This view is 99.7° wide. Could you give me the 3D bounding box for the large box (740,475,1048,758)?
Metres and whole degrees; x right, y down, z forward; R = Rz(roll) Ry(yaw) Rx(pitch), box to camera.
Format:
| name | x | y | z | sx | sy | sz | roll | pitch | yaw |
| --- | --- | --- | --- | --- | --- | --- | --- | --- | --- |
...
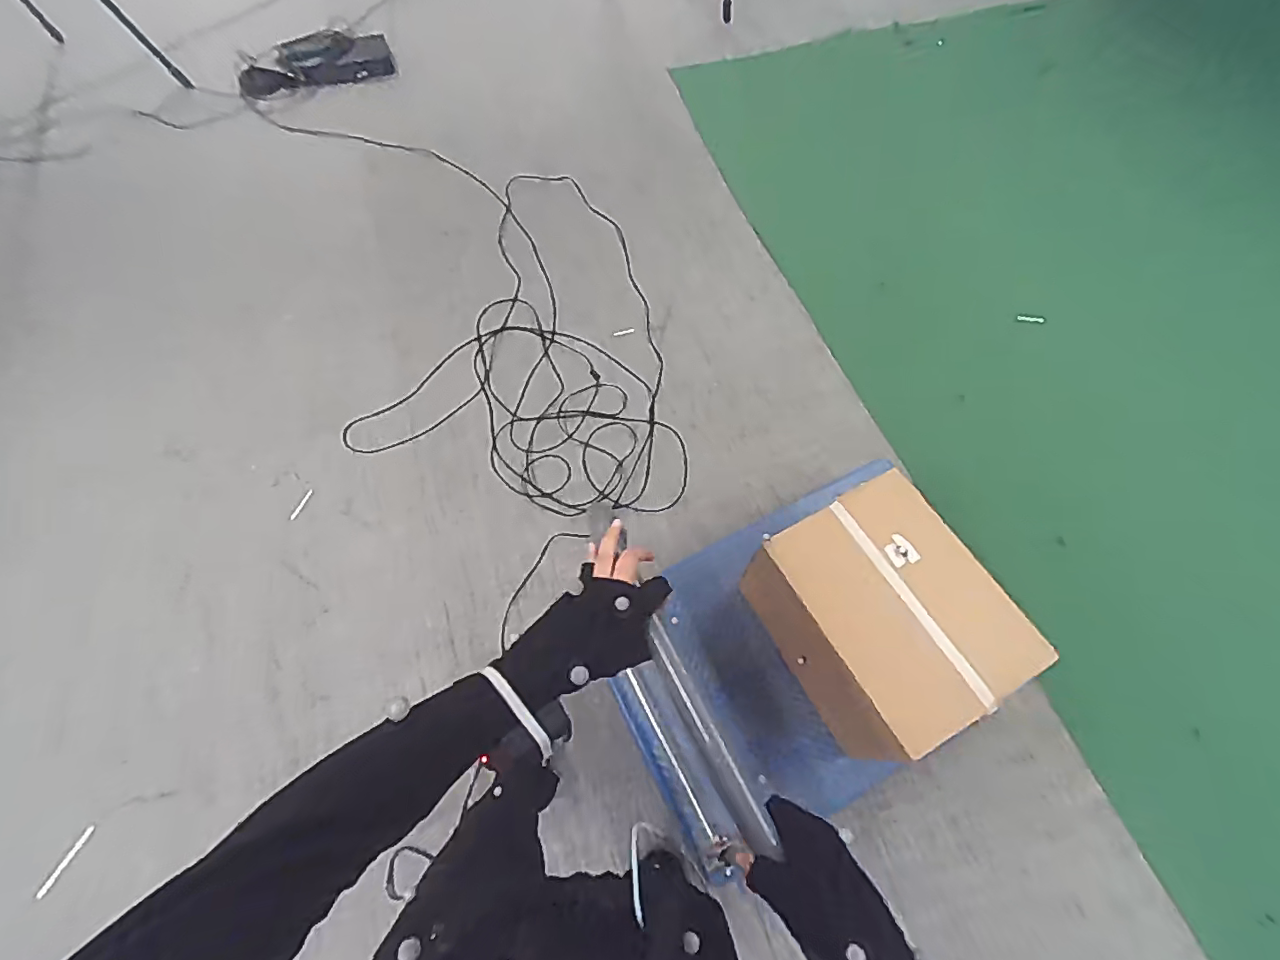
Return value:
| name | x | y | z | sx | sy | sz | roll | pitch | yaw |
| --- | --- | --- | --- | --- | --- | --- | --- | --- | --- |
| large box | 0.452 | 0.274 | 1.070 | 0.320 | 0.320 | 0.408 | -27 | 66 | -12 |
